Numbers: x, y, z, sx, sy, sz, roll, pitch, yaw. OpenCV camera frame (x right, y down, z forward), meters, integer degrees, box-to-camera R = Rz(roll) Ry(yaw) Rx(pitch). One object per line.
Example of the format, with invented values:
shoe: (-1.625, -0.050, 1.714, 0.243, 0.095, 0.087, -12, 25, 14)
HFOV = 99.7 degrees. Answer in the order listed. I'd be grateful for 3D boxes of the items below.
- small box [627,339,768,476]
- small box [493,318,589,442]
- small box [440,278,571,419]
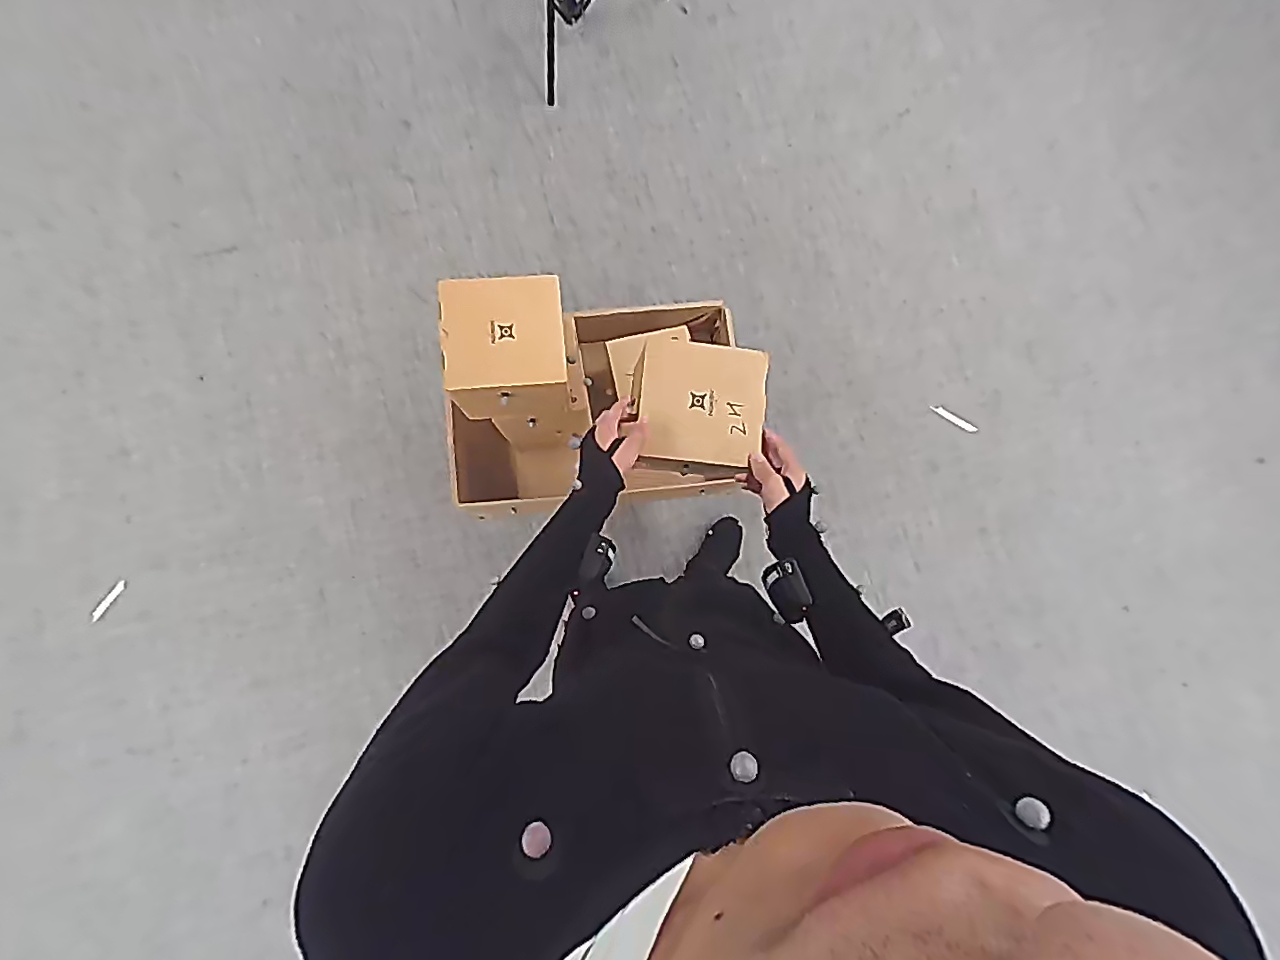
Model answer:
small box: (0.076, -0.098, 0.810, 0.179, 0.176, 0.168, 6, 86, -6)
small box: (-0.188, -0.181, 1.015, 0.168, 0.176, 0.179, -8, 83, -5)
small box: (-0.201, -0.199, 0.851, 0.179, 0.176, 0.168, -5, 83, -5)
